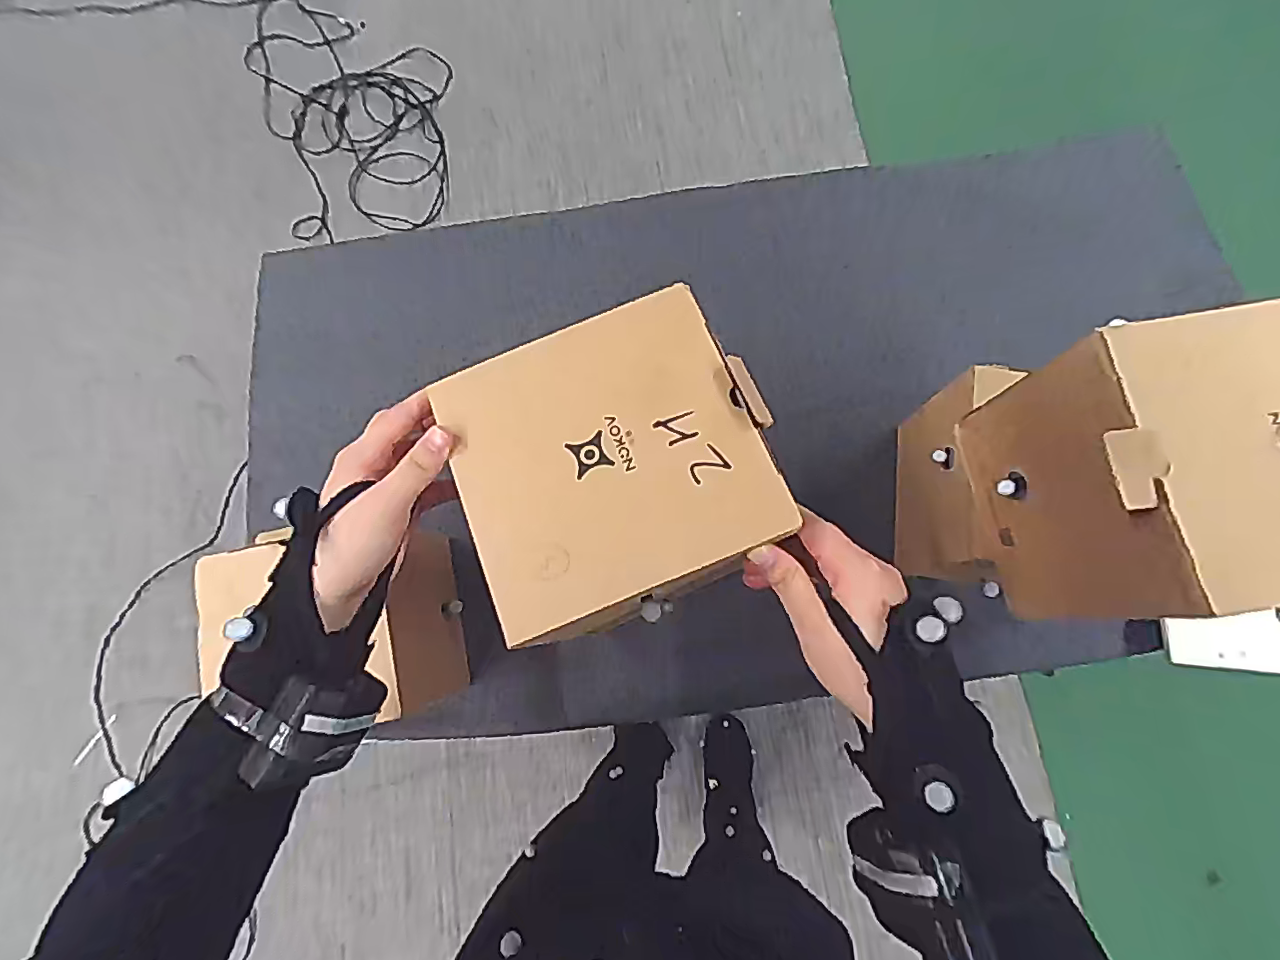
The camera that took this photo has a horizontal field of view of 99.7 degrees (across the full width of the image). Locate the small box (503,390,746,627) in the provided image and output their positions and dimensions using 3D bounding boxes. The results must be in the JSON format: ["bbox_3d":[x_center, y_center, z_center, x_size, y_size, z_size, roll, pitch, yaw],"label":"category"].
[{"bbox_3d":[-0.012,0.040,0.558,0.179,0.176,0.168,-25,77,-3],"label":"small box"}]

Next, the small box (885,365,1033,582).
[{"bbox_3d":[0.360,0.007,0.542,0.168,0.176,0.179,7,78,5],"label":"small box"}]

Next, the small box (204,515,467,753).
[{"bbox_3d":[-0.294,0.148,0.550,0.168,0.176,0.179,-14,77,0],"label":"small box"}]

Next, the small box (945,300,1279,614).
[{"bbox_3d":[0.356,-0.005,0.377,0.179,0.176,0.168,-10,77,2],"label":"small box"}]
